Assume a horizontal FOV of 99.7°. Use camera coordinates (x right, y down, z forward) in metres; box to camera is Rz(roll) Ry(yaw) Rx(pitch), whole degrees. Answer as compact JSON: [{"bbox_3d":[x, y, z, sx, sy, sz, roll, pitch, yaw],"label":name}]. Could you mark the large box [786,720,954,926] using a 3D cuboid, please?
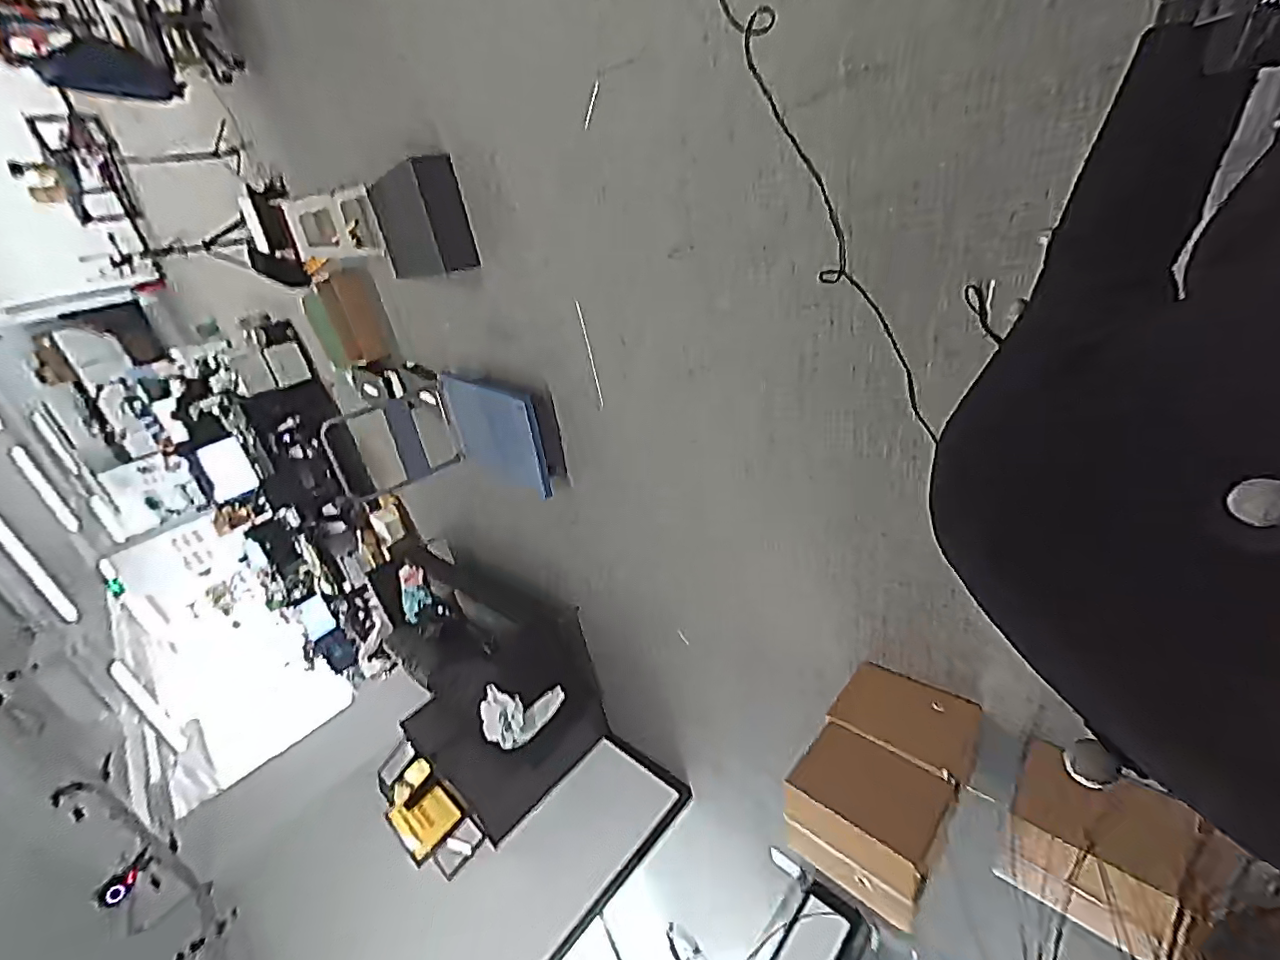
[{"bbox_3d":[0.717,1.052,1.715,0.408,0.320,0.320,15,122,42],"label":"large box"}]
